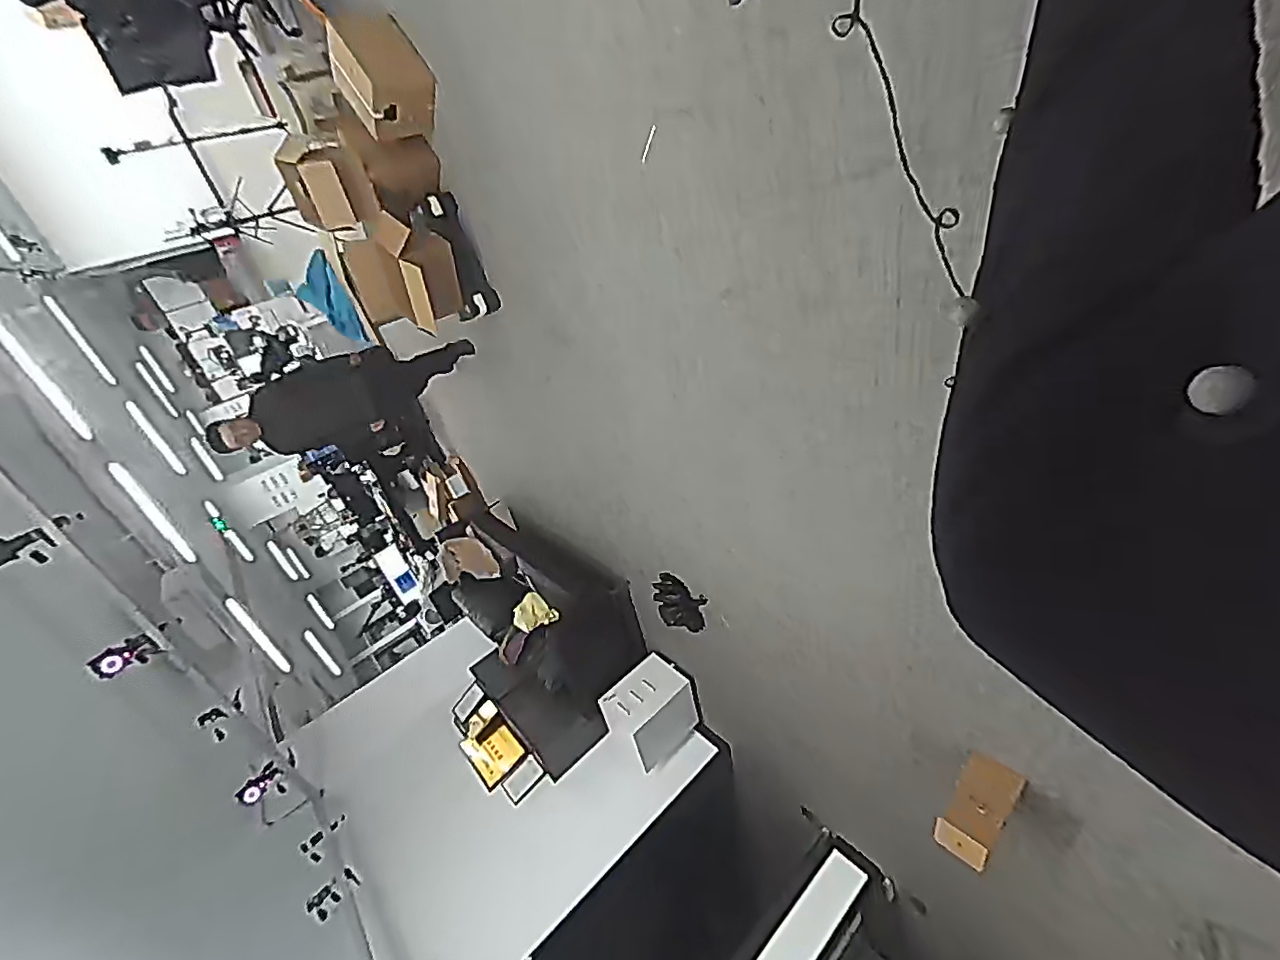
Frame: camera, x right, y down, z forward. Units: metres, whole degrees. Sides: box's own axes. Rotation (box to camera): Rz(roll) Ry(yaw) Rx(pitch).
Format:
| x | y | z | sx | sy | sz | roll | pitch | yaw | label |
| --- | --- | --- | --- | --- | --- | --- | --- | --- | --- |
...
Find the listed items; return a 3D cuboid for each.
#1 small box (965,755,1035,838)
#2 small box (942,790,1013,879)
| x | y | z | sx | sy | sz | roll | pitch | yaw | label |
| --- | --- | --- | --- | --- | --- | --- | --- | --- | --- |
| 1.349 | 1.183 | 2.033 | 0.179 | 0.176 | 0.168 | 24 | 137 | 45 | small box |
| 1.219 | 1.275 | 1.952 | 0.168 | 0.176 | 0.179 | 21 | 134 | 45 | small box |
